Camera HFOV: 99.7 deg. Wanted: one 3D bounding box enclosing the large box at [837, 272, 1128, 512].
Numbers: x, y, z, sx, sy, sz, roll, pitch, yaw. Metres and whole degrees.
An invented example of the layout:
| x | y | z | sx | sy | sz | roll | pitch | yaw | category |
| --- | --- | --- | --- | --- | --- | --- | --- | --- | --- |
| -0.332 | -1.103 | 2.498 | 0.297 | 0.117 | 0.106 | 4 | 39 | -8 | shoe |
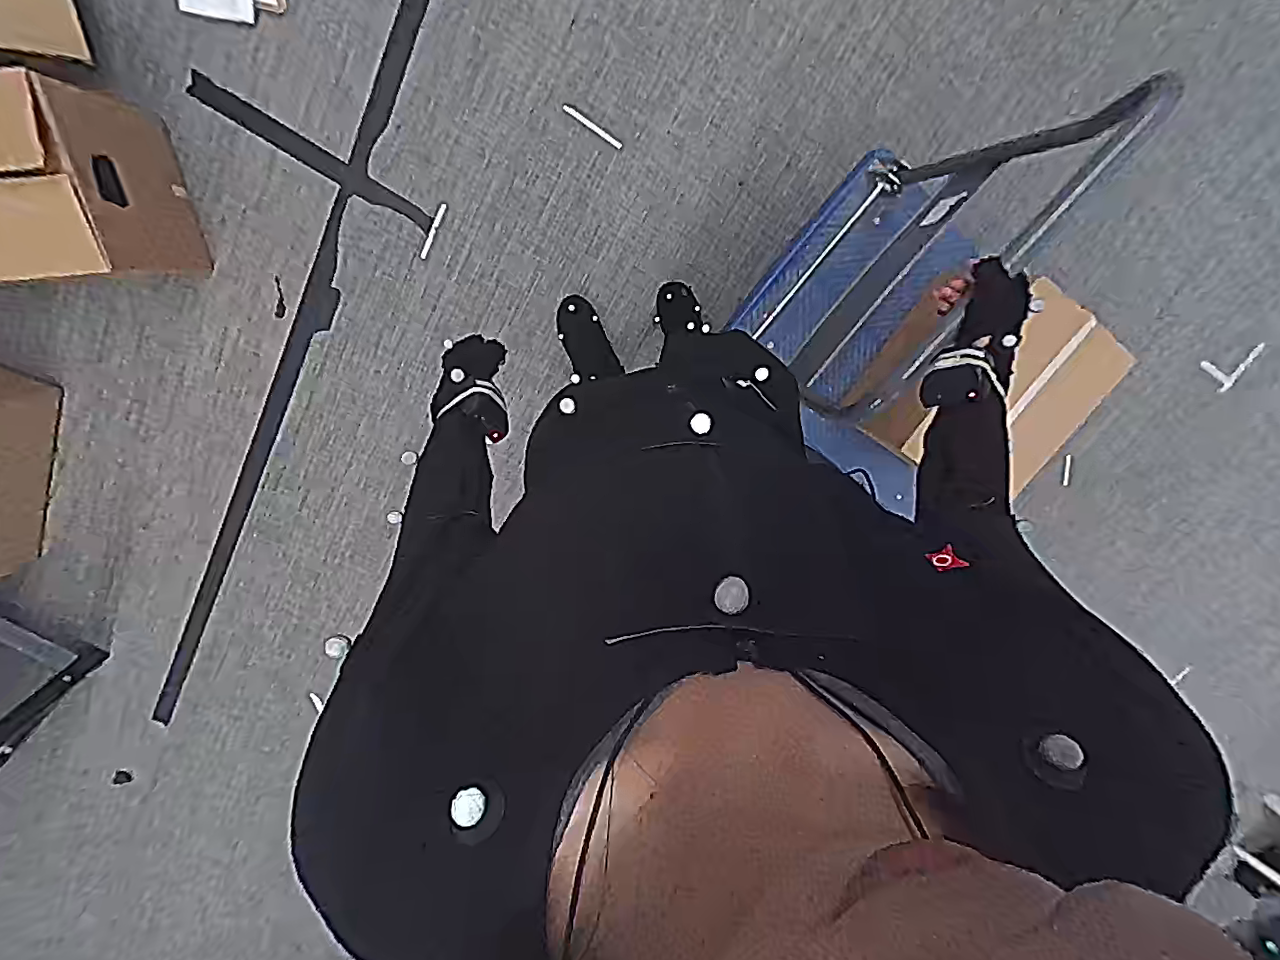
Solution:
| x | y | z | sx | sy | sz | roll | pitch | yaw | category |
| --- | --- | --- | --- | --- | --- | --- | --- | --- | --- |
| 0.743 | -0.211 | 1.235 | 0.320 | 0.320 | 0.408 | 29 | 106 | -16 | large box |
